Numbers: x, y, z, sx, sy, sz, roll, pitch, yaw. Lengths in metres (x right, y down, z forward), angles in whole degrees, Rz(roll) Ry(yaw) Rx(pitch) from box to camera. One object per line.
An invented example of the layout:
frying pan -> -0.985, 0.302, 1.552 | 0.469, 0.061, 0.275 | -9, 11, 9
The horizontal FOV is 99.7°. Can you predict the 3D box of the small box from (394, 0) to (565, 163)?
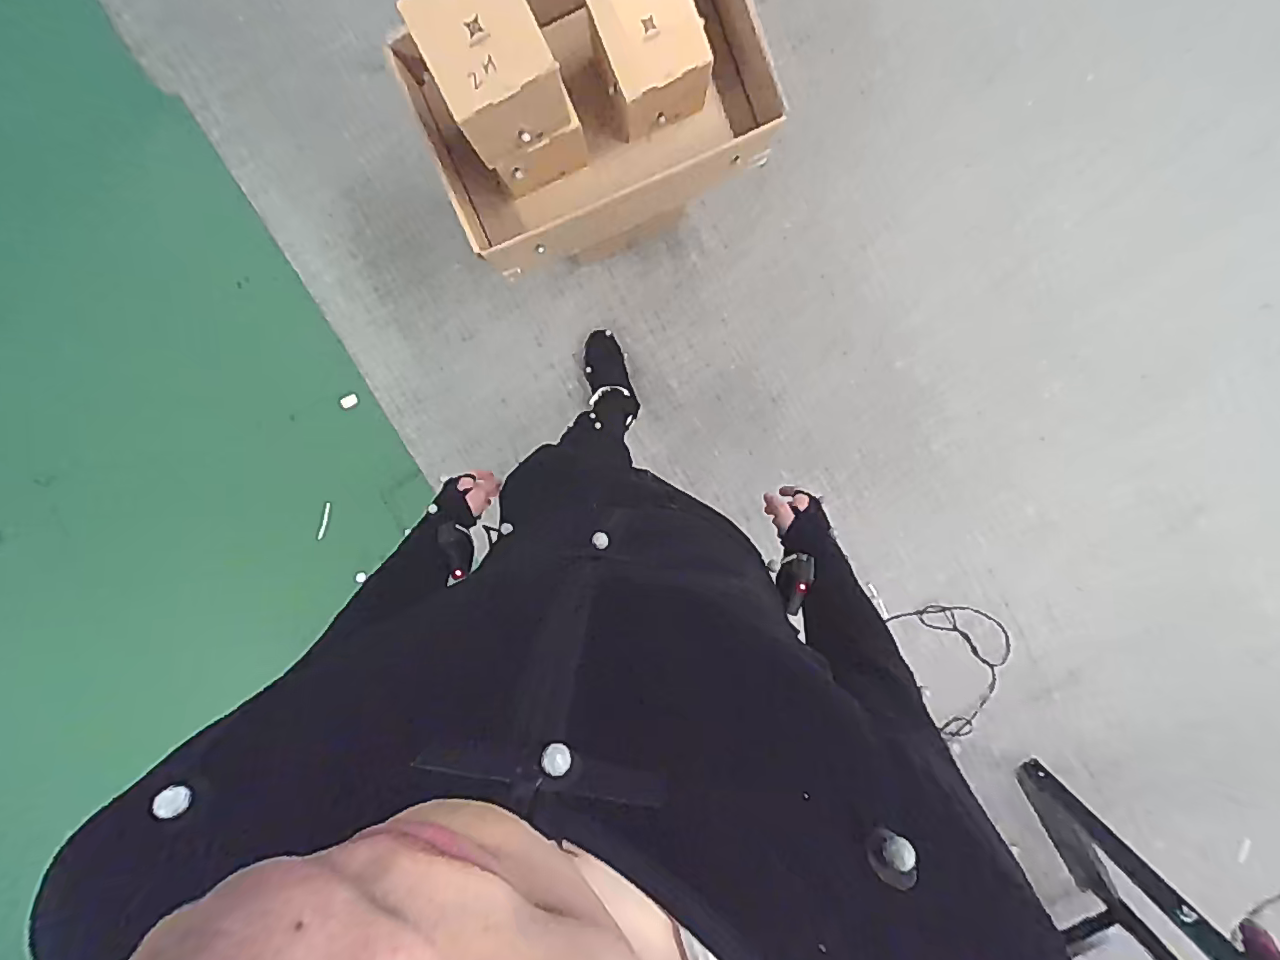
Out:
small box -> -0.230, -0.632, 0.825 | 0.168, 0.176, 0.179 | -26, 100, 4
